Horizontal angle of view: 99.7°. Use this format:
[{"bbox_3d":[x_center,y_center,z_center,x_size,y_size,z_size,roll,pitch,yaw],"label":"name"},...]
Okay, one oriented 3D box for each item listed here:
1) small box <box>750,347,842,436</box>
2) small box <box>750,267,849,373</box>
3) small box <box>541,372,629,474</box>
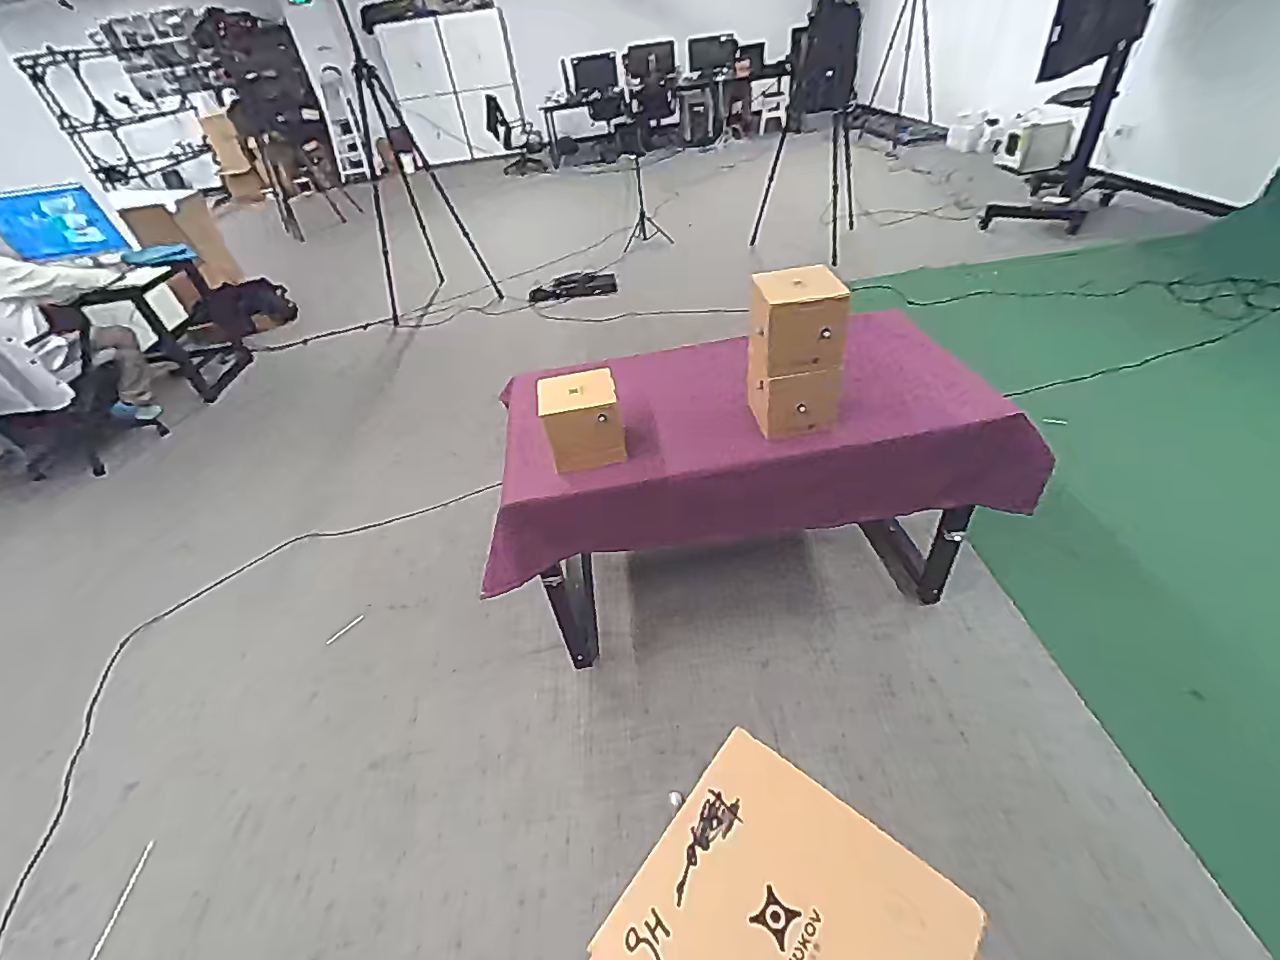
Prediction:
[{"bbox_3d":[0.364,-0.218,1.288,0.168,0.176,0.179,-9,39,0],"label":"small box"},{"bbox_3d":[0.342,-0.345,1.187,0.168,0.176,0.179,-8,39,2],"label":"small box"},{"bbox_3d":[-0.132,-0.133,1.291,0.179,0.176,0.168,-11,39,-3],"label":"small box"}]
